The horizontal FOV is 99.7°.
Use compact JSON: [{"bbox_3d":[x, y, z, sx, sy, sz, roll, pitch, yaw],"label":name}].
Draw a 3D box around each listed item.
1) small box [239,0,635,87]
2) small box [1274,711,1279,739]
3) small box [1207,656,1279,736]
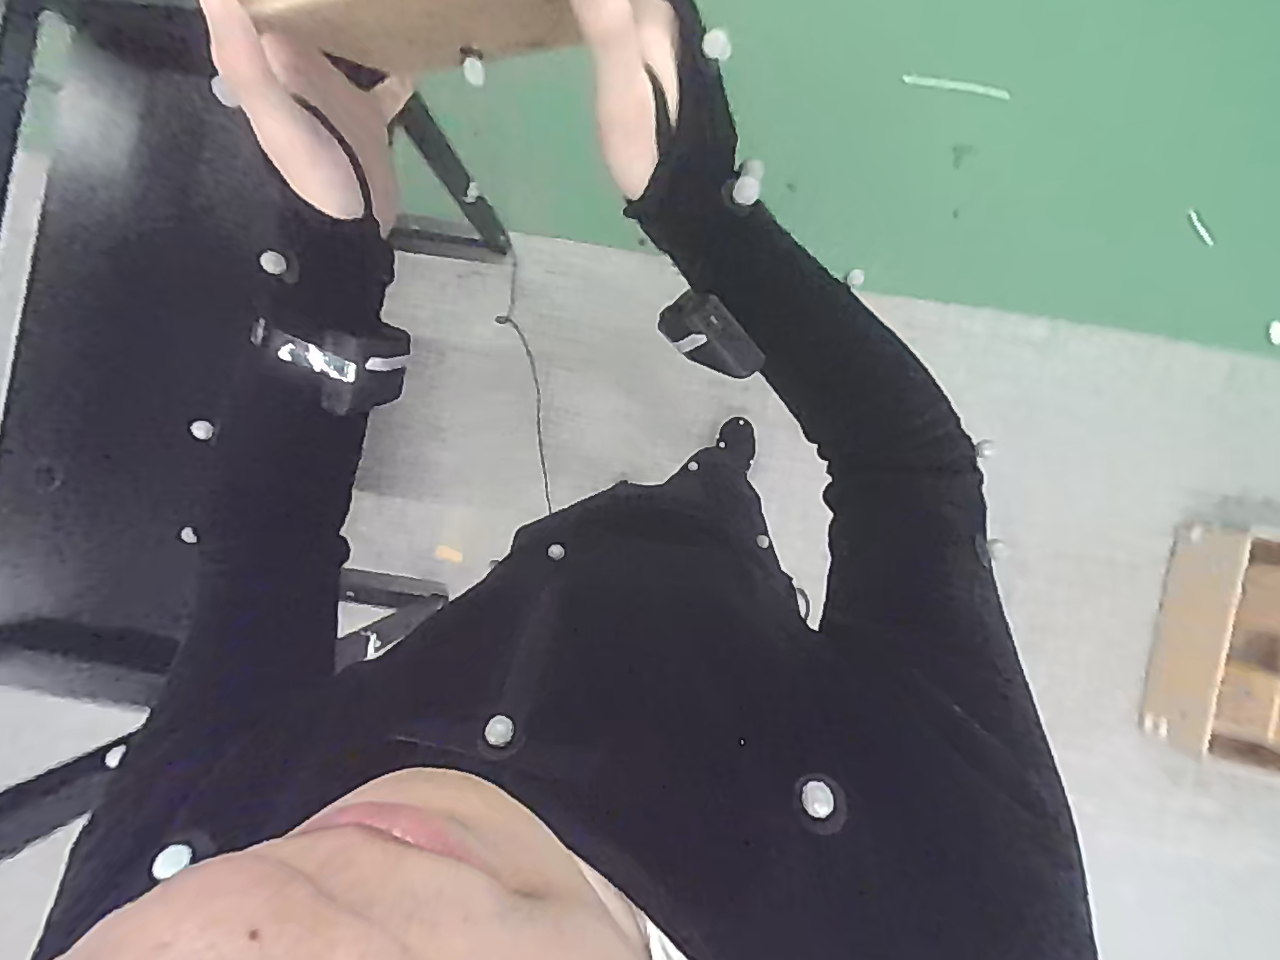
[{"bbox_3d":[-0.097,-0.321,0.265,0.168,0.176,0.179,-3,119,8],"label":"small box"},{"bbox_3d":[1.661,0.576,1.255,0.179,0.176,0.168,13,89,3],"label":"small box"},{"bbox_3d":[1.666,0.578,1.421,0.179,0.176,0.168,13,89,3],"label":"small box"}]
